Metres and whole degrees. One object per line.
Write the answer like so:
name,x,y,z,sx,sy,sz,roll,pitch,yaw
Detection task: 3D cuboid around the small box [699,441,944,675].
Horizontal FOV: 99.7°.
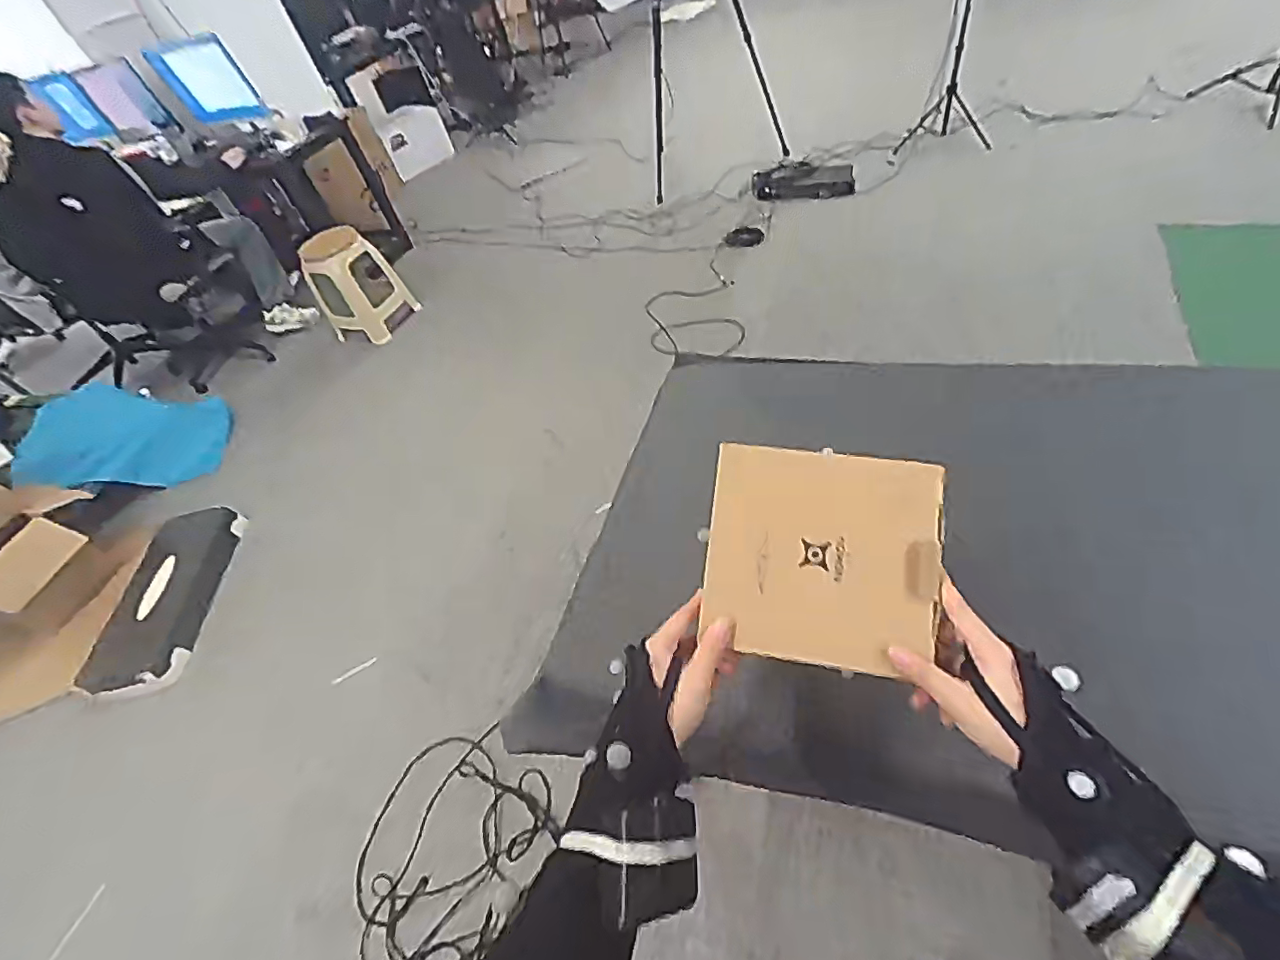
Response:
small box,0.155,0.072,0.502,0.179,0.176,0.168,6,78,11
